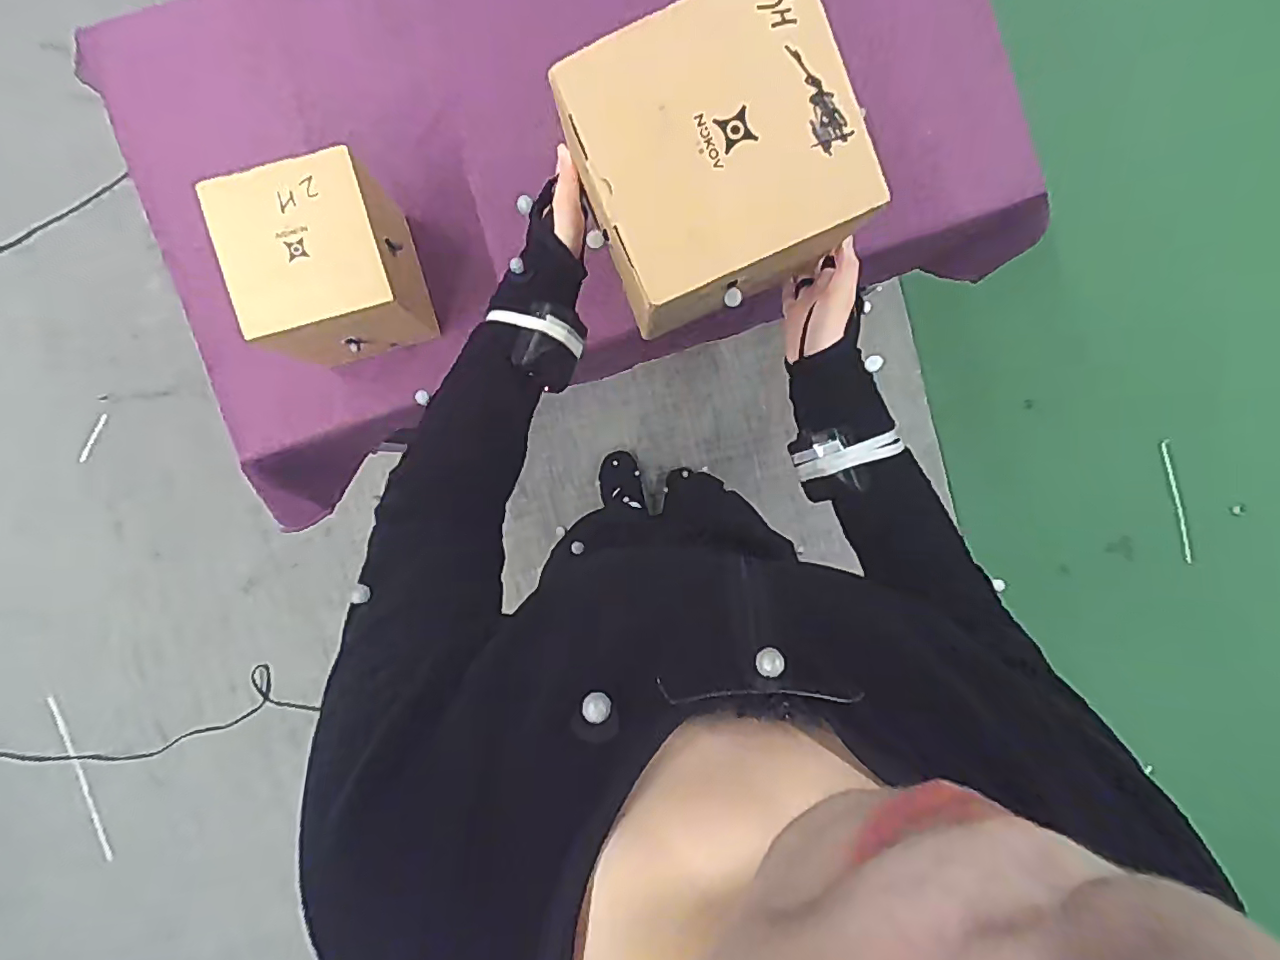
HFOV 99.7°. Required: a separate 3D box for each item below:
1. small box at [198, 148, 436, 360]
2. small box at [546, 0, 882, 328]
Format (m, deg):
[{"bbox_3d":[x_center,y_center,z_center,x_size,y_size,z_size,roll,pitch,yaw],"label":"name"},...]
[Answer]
[{"bbox_3d":[-0.371,-0.254,0.657,0.168,0.176,0.179,-16,92,-3],"label":"small box"},{"bbox_3d":[0.051,-0.235,0.426,0.179,0.176,0.168,-23,97,4],"label":"small box"}]
